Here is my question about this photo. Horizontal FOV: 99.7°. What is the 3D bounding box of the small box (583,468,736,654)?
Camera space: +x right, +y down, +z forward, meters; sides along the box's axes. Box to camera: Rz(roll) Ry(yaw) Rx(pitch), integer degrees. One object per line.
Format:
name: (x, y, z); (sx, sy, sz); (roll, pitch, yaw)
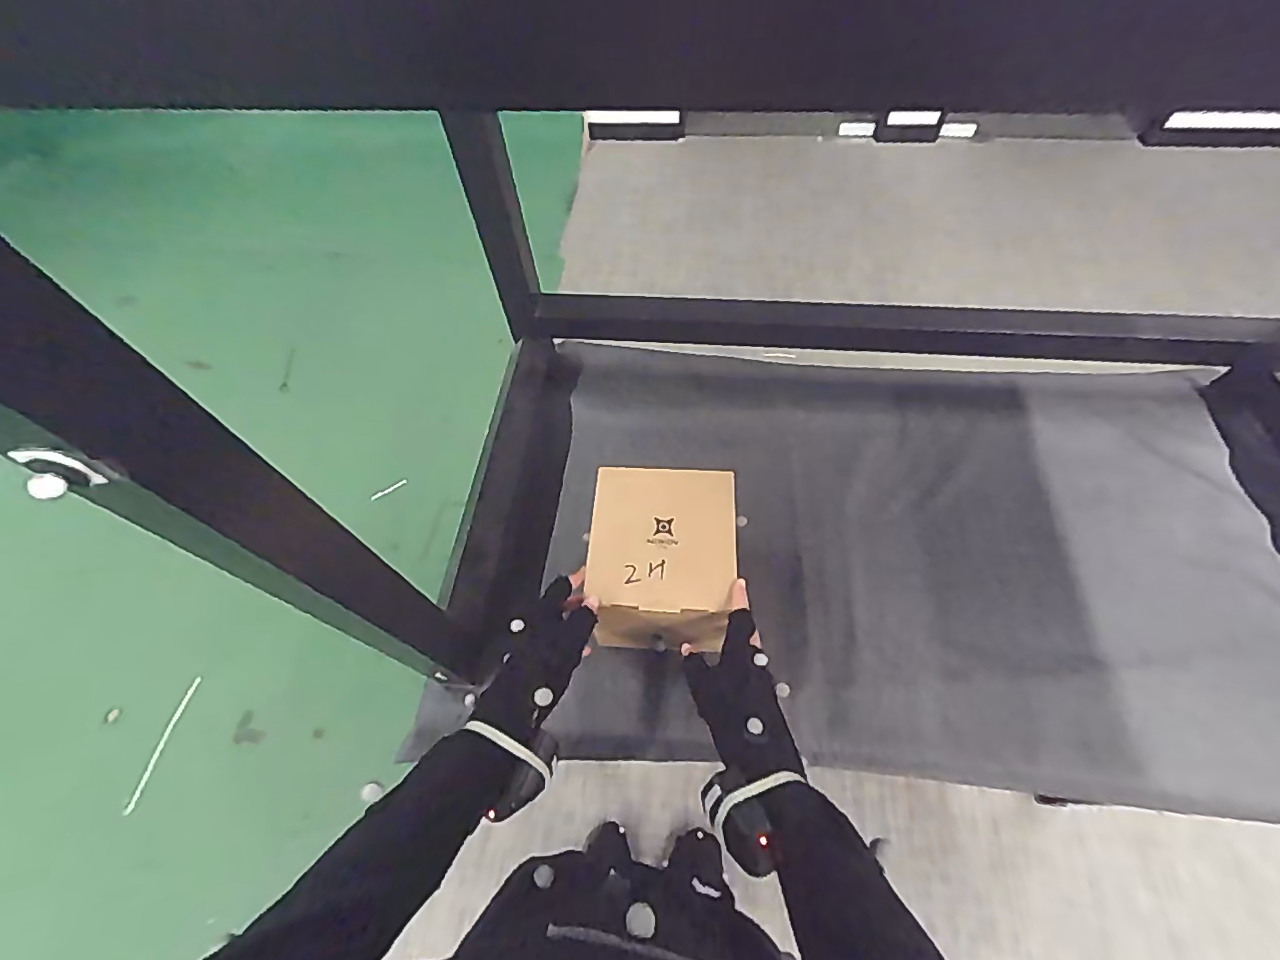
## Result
small box: (0.029, 0.104, 0.681); (0.168, 0.176, 0.179); (2, 58, 5)
